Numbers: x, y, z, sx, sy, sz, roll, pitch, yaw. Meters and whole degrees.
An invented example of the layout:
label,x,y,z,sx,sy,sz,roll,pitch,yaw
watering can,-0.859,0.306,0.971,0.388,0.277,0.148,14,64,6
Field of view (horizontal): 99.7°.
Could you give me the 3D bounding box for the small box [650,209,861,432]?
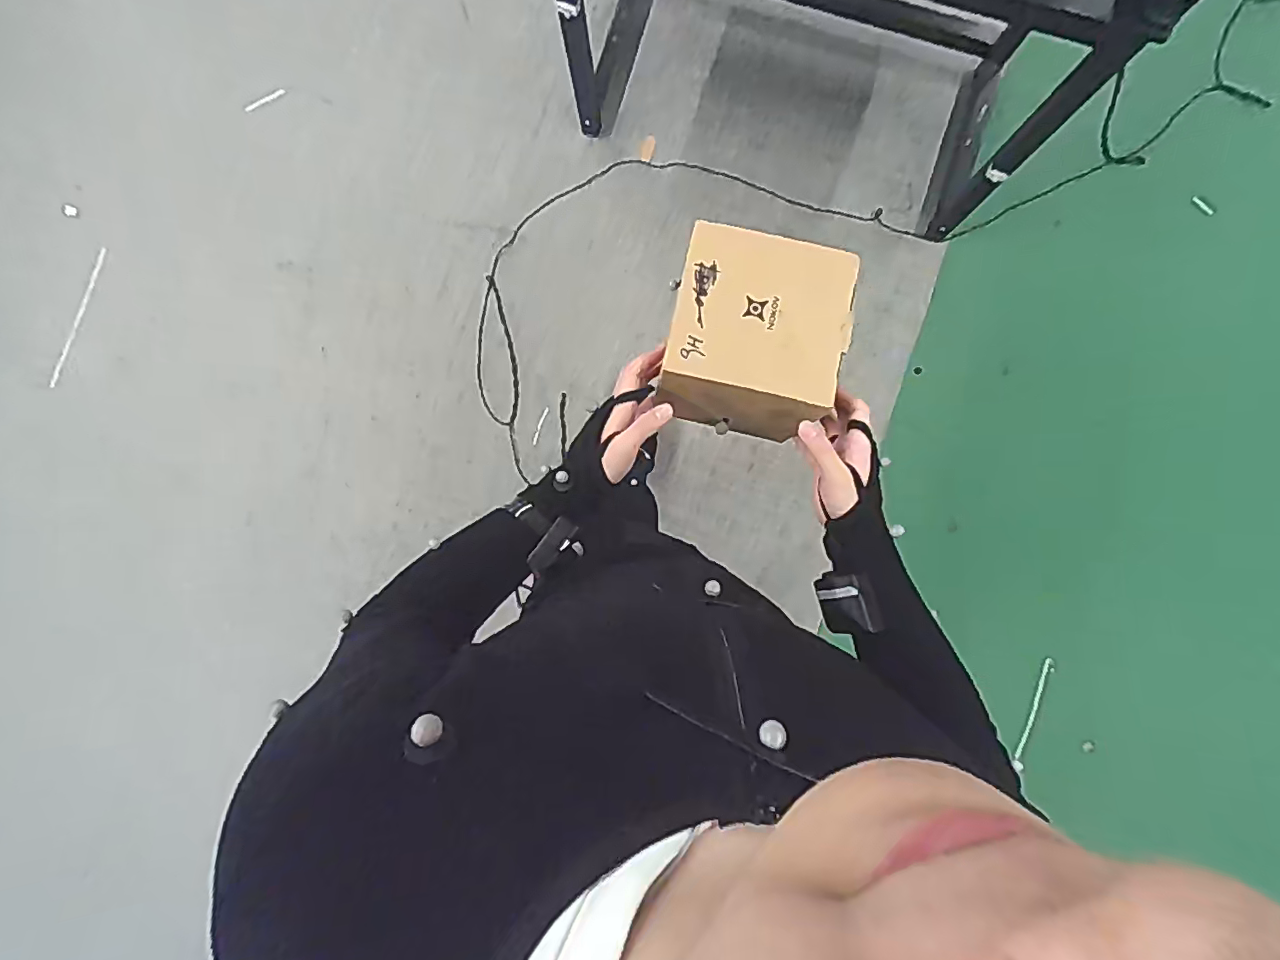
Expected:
label,x,y,z,sx,sy,sz,roll,pitch,yaw
small box,0.116,-0.162,0.607,0.179,0.176,0.168,13,80,0
